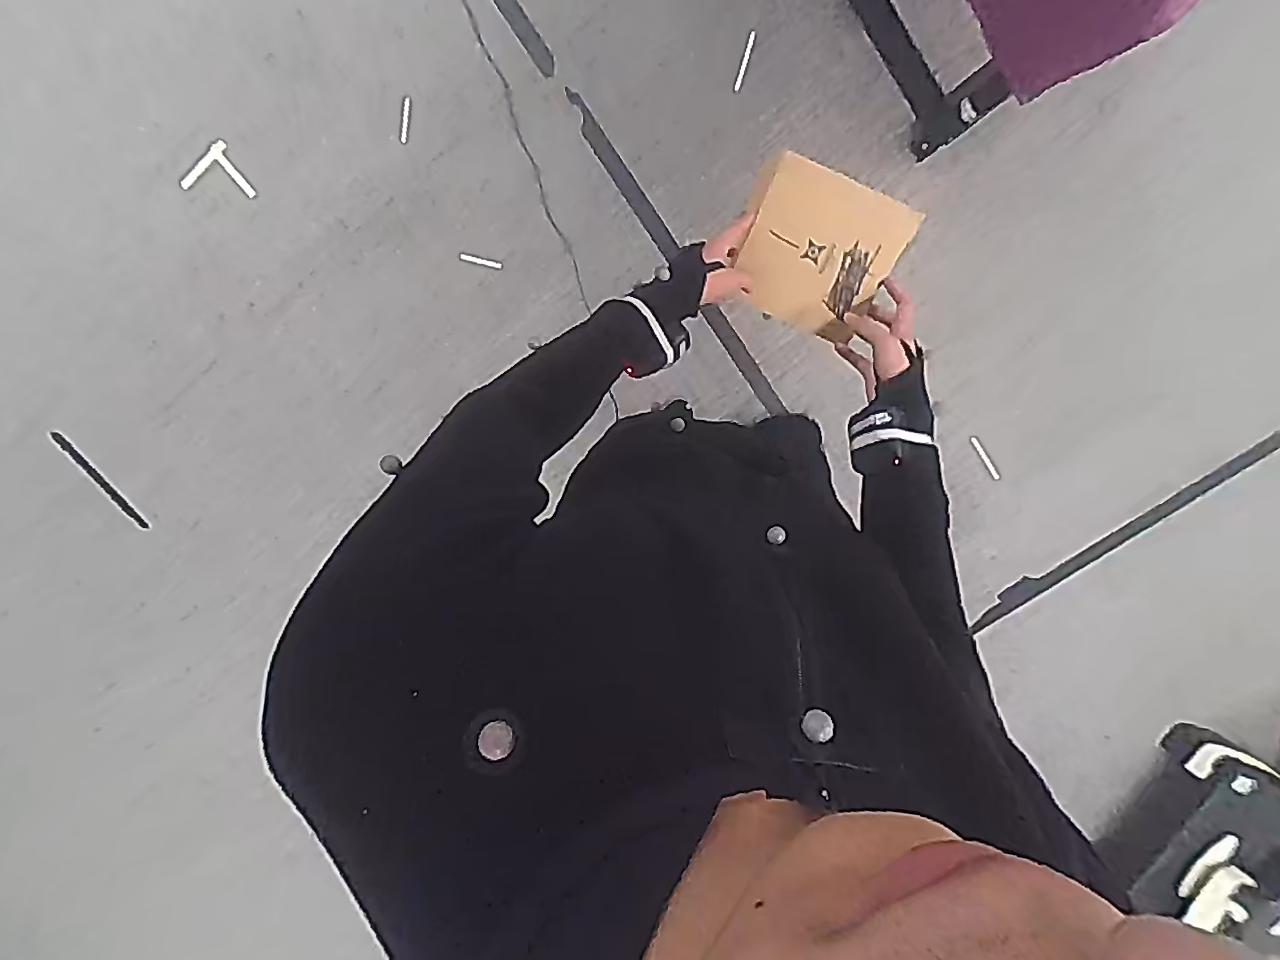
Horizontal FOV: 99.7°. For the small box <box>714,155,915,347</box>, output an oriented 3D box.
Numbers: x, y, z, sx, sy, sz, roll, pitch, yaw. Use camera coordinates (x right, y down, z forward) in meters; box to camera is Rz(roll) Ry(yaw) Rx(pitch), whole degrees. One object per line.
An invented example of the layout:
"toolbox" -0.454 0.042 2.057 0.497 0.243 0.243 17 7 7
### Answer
"small box" 0.209 -0.299 0.705 0.179 0.176 0.168 21 117 -6
